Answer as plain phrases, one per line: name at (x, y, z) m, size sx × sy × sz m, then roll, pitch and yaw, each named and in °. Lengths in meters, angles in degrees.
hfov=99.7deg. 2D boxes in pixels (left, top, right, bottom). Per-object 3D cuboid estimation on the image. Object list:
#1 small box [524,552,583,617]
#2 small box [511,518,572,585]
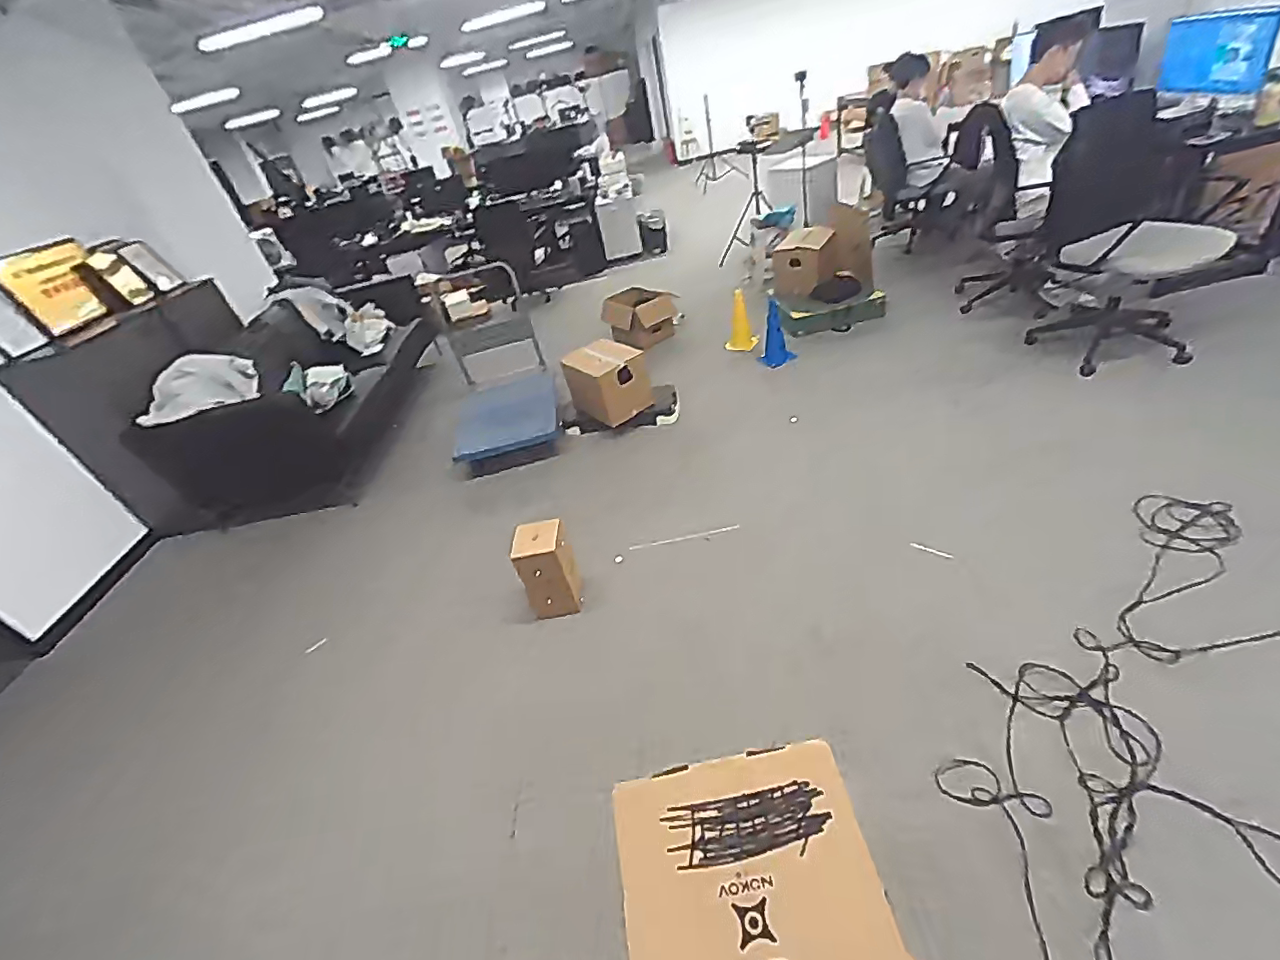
small box at (-0.323, 0.400, 2.066) m, size 0.179 × 0.176 × 0.168 m, roll -12°, pitch 36°, yaw 6°
small box at (-0.352, 0.268, 1.971) m, size 0.168 × 0.176 × 0.179 m, roll -10°, pitch 36°, yaw 6°
